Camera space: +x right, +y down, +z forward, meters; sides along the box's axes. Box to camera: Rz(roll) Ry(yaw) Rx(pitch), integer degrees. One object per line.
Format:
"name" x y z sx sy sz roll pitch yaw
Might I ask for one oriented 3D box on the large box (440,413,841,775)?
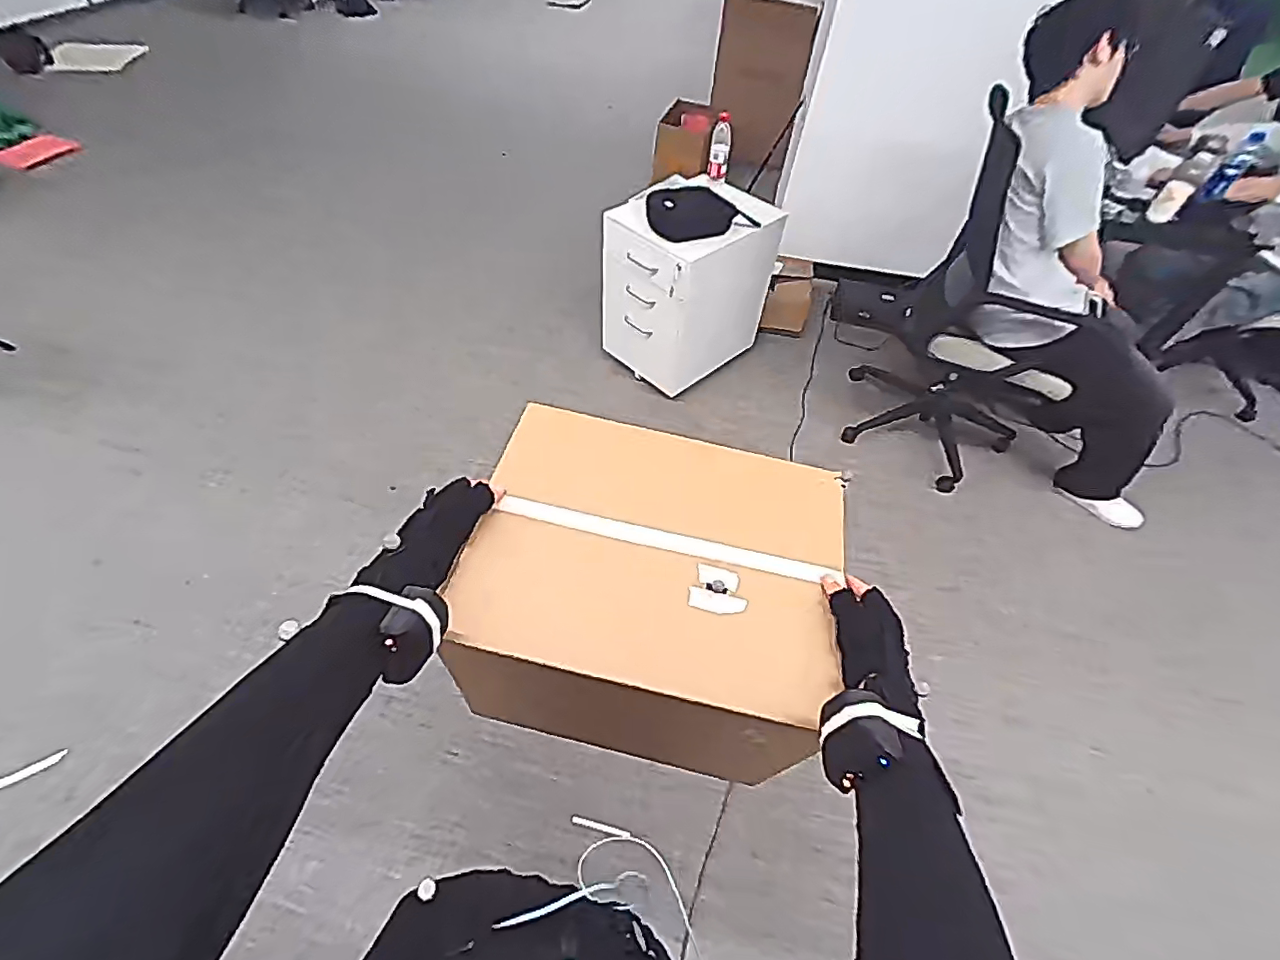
"large box" 0.008 0.160 0.722 0.408 0.320 0.320 14 54 2
